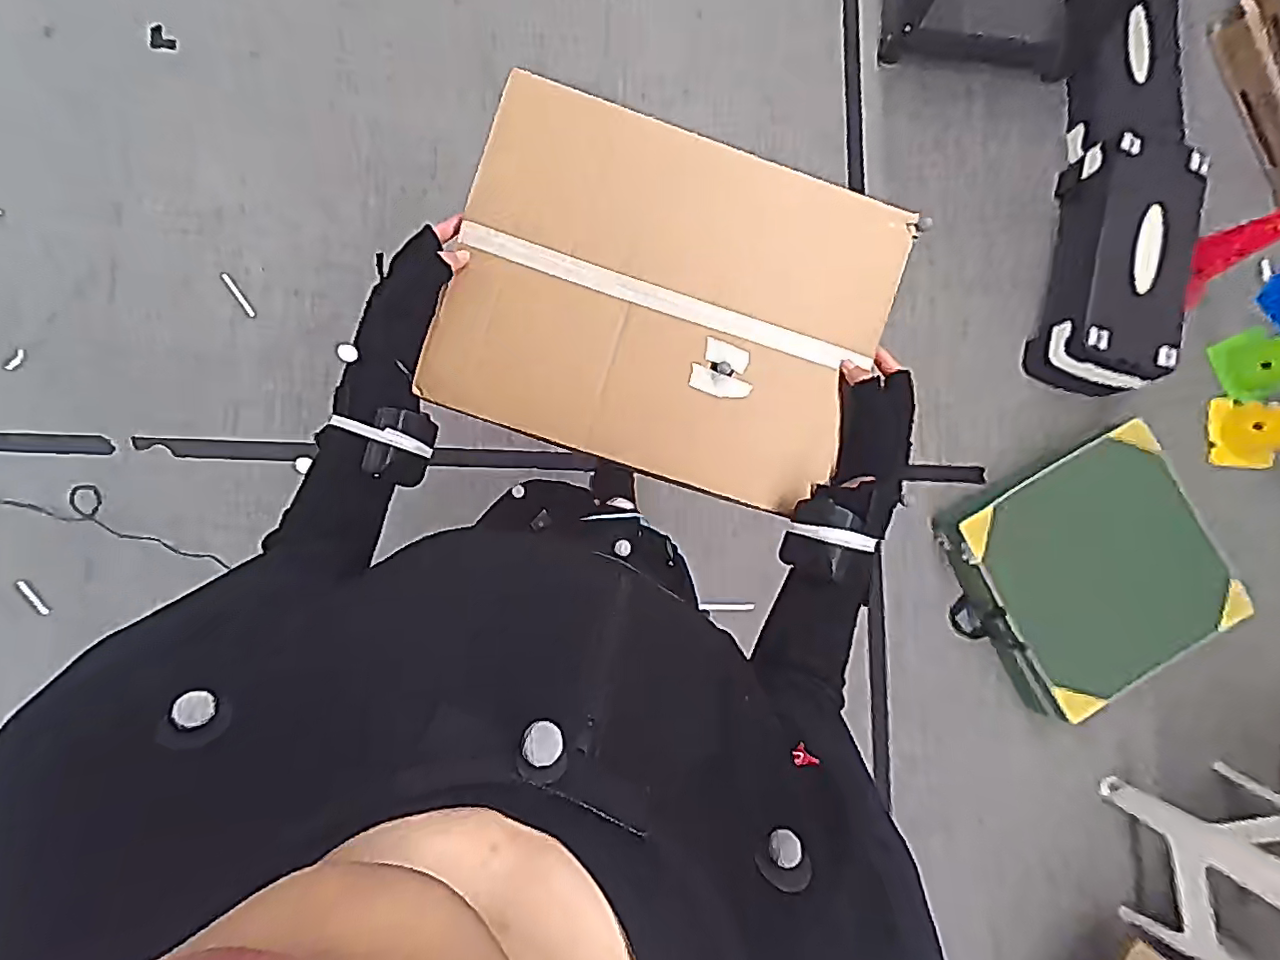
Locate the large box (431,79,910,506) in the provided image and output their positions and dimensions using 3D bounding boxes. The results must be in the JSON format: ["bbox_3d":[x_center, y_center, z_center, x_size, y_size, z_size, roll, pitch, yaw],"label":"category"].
[{"bbox_3d":[0.023,-0.179,0.667,0.408,0.320,0.320,18,91,-4],"label":"large box"}]
